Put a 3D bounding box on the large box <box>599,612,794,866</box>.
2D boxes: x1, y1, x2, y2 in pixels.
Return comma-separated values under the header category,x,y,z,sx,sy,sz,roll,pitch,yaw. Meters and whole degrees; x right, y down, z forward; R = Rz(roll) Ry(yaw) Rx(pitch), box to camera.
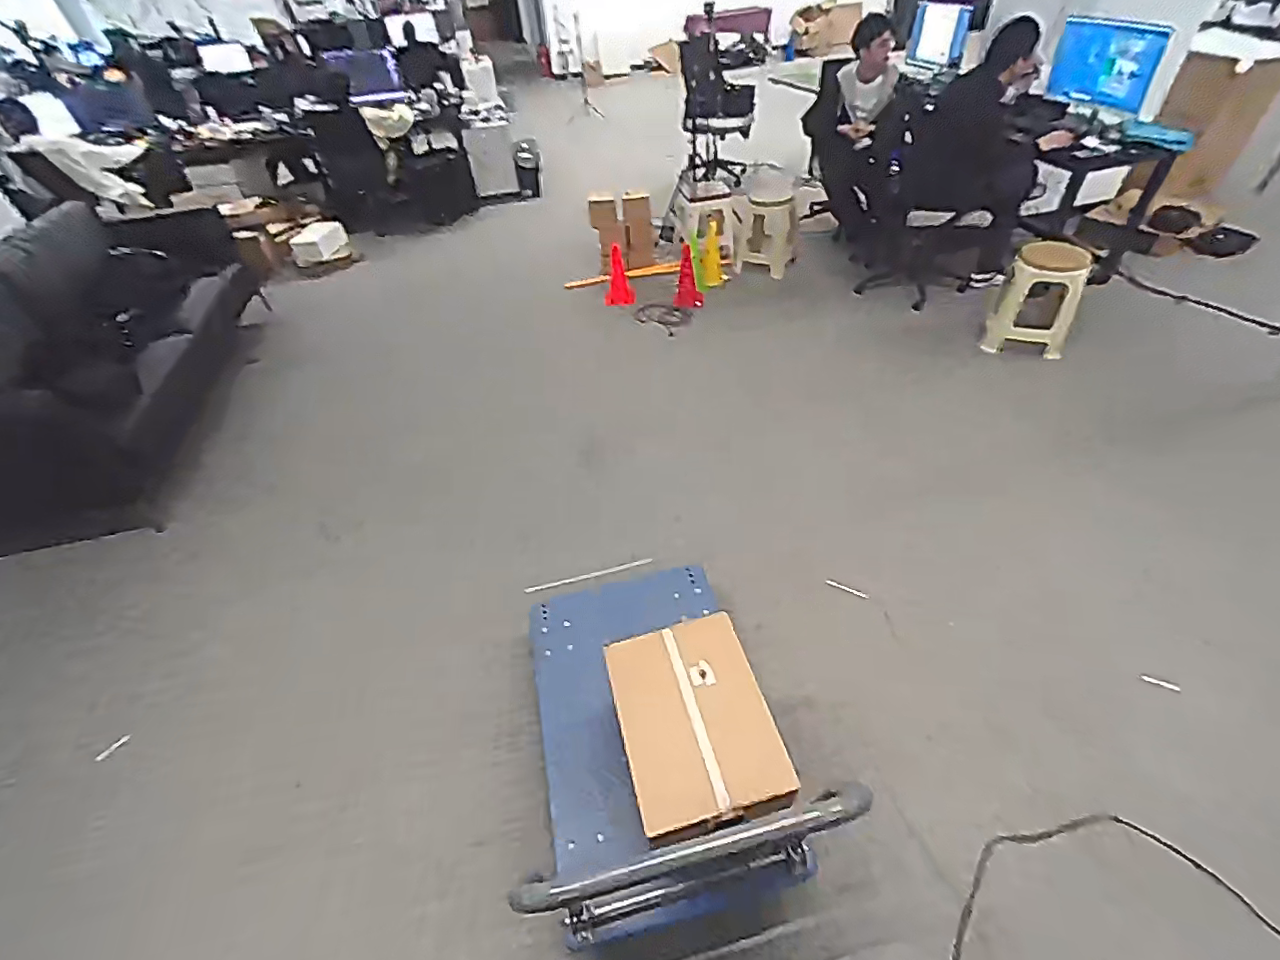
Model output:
category,x,y,z,sx,sy,sz,roll,pitch,yaw
large box,0.115,0.592,1.258,0.320,0.320,0.408,-13,45,-8
